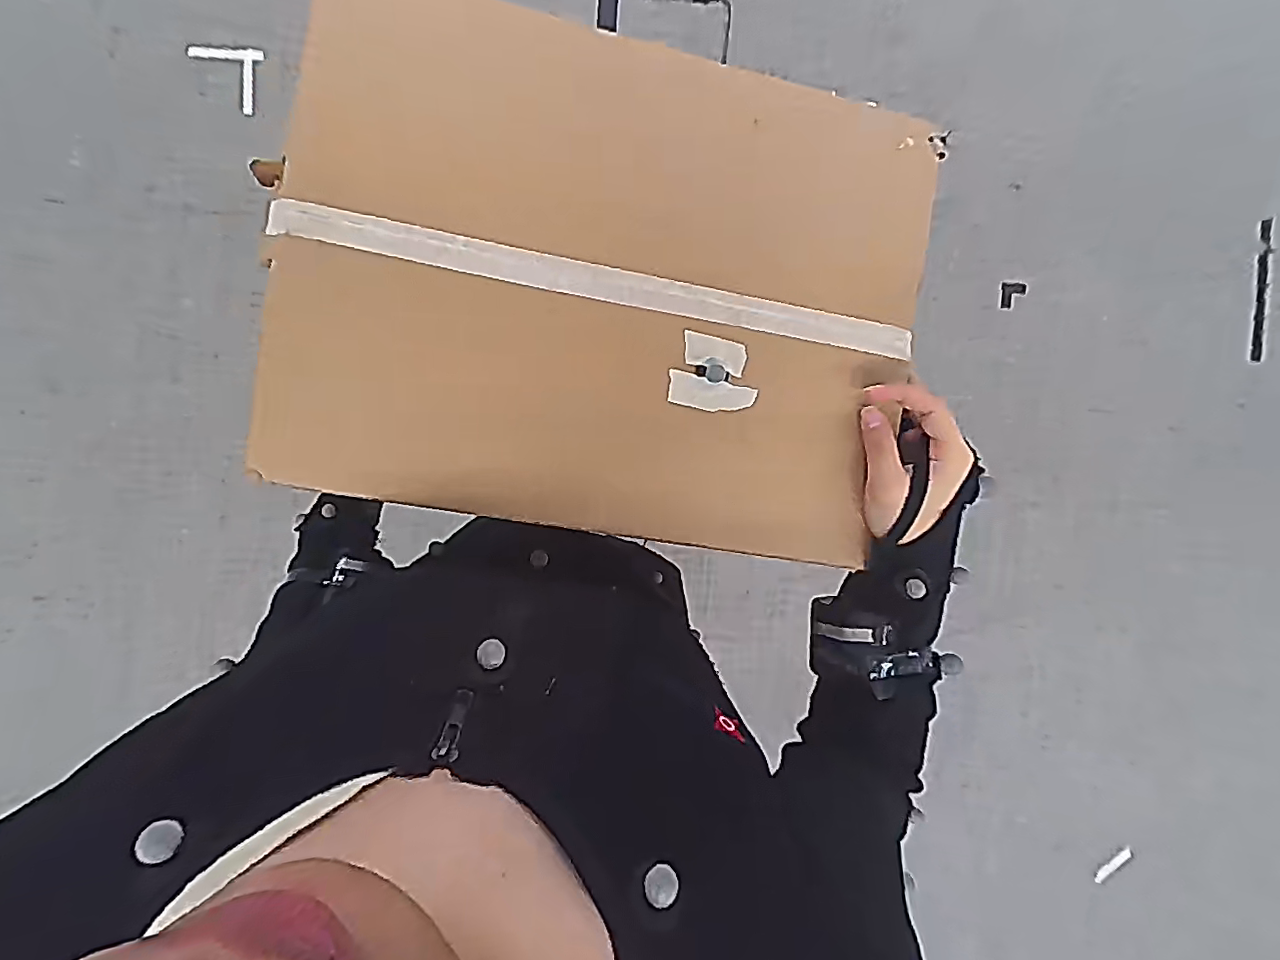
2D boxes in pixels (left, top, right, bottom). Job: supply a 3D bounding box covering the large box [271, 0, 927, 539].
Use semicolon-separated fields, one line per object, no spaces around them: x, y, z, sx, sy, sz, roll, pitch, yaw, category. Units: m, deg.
-0.034;-0.138;0.501;0.408;0.320;0.320;9;91;-10;large box
